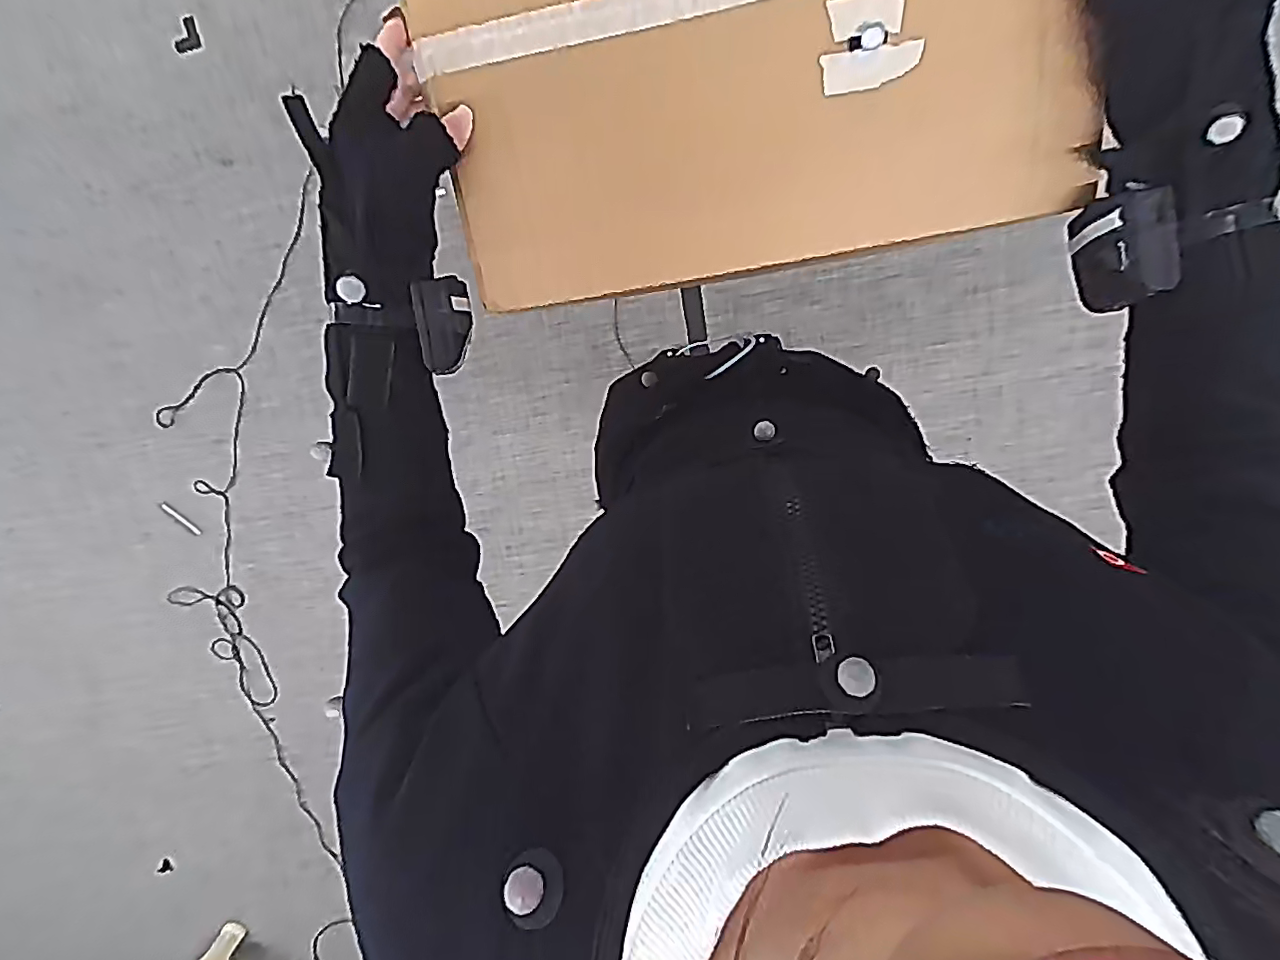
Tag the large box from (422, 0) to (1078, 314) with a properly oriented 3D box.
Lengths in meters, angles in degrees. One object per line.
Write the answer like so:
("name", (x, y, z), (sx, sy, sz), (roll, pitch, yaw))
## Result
("large box", (0.069, -0.343, 0.477), (0.408, 0.320, 0.320), (-8, 108, 6))
